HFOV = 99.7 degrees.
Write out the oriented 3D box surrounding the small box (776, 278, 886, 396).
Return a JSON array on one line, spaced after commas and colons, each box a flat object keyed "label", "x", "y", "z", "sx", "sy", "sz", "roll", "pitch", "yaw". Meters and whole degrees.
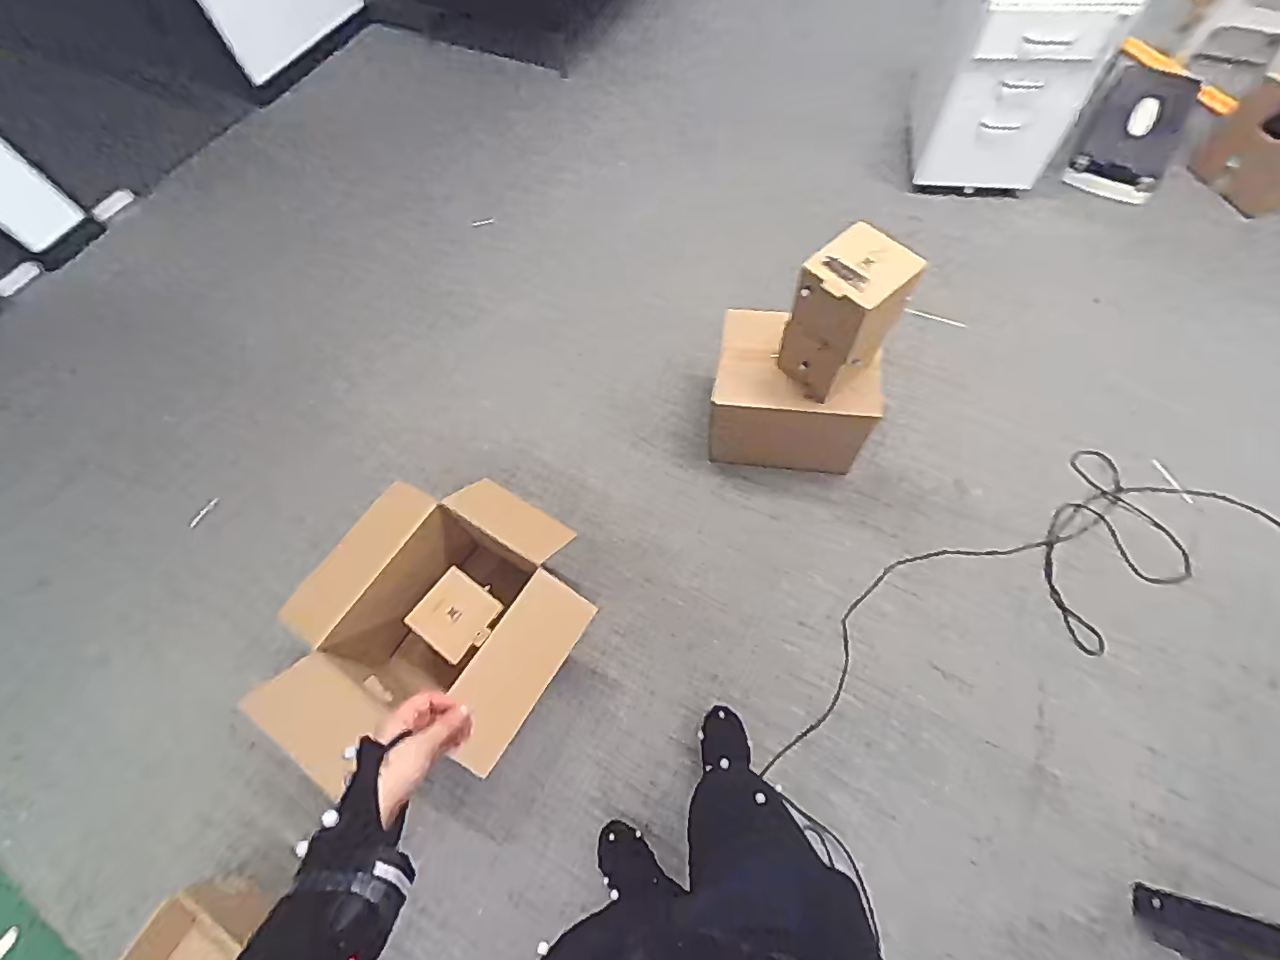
[{"label": "small box", "x": 0.443, "y": -0.333, "z": 1.288, "sx": 0.179, "sy": 0.176, "sz": 0.168, "roll": -40, "pitch": 68, "yaw": -12}]
